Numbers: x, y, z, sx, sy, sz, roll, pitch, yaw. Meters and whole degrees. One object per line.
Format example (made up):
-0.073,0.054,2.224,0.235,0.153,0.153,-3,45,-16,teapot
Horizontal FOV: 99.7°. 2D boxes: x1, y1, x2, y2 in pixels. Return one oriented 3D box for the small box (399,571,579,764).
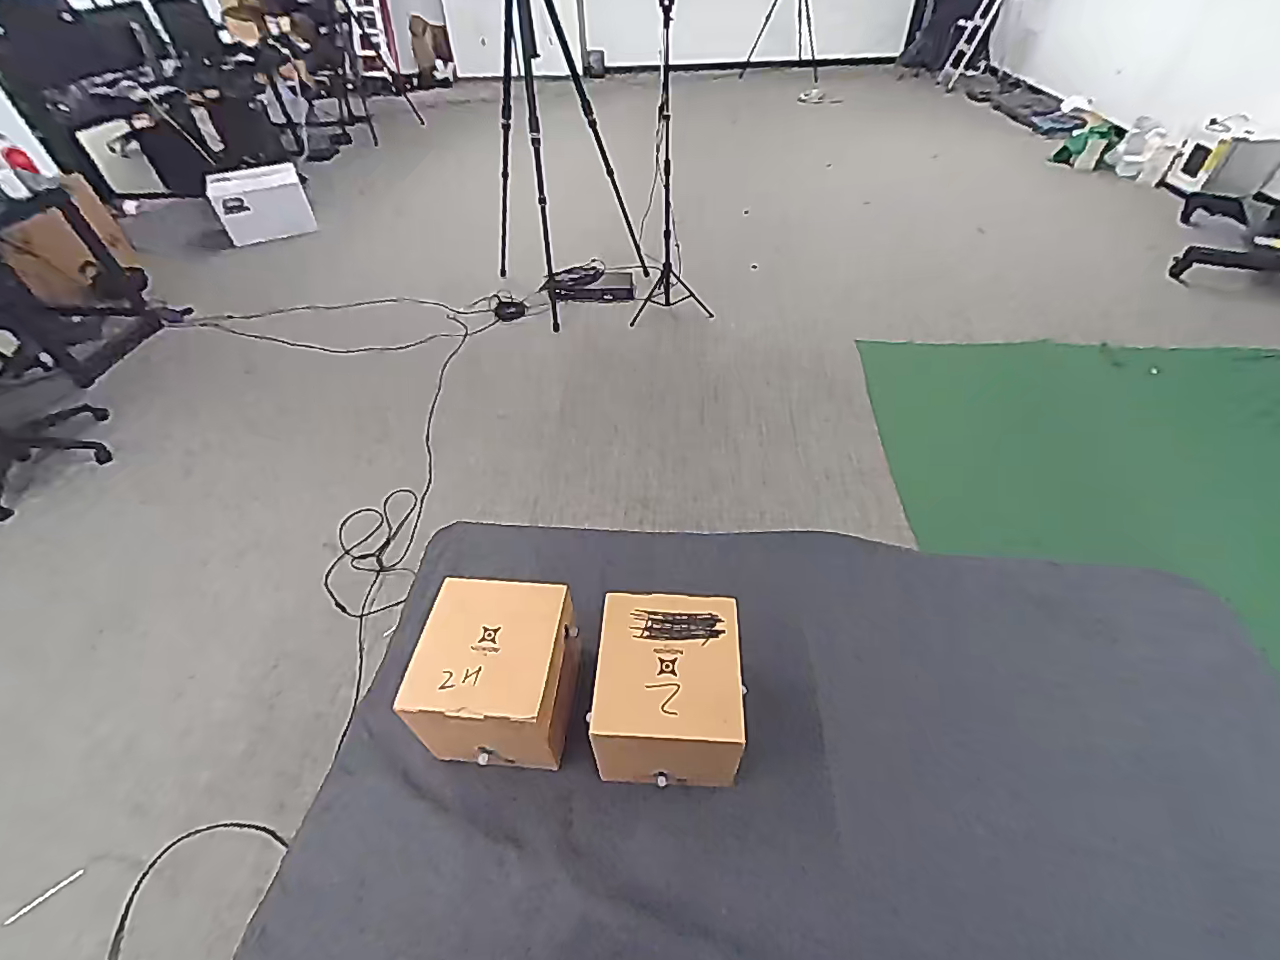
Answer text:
-0.178,0.243,0.706,0.168,0.176,0.179,3,46,5,small box
